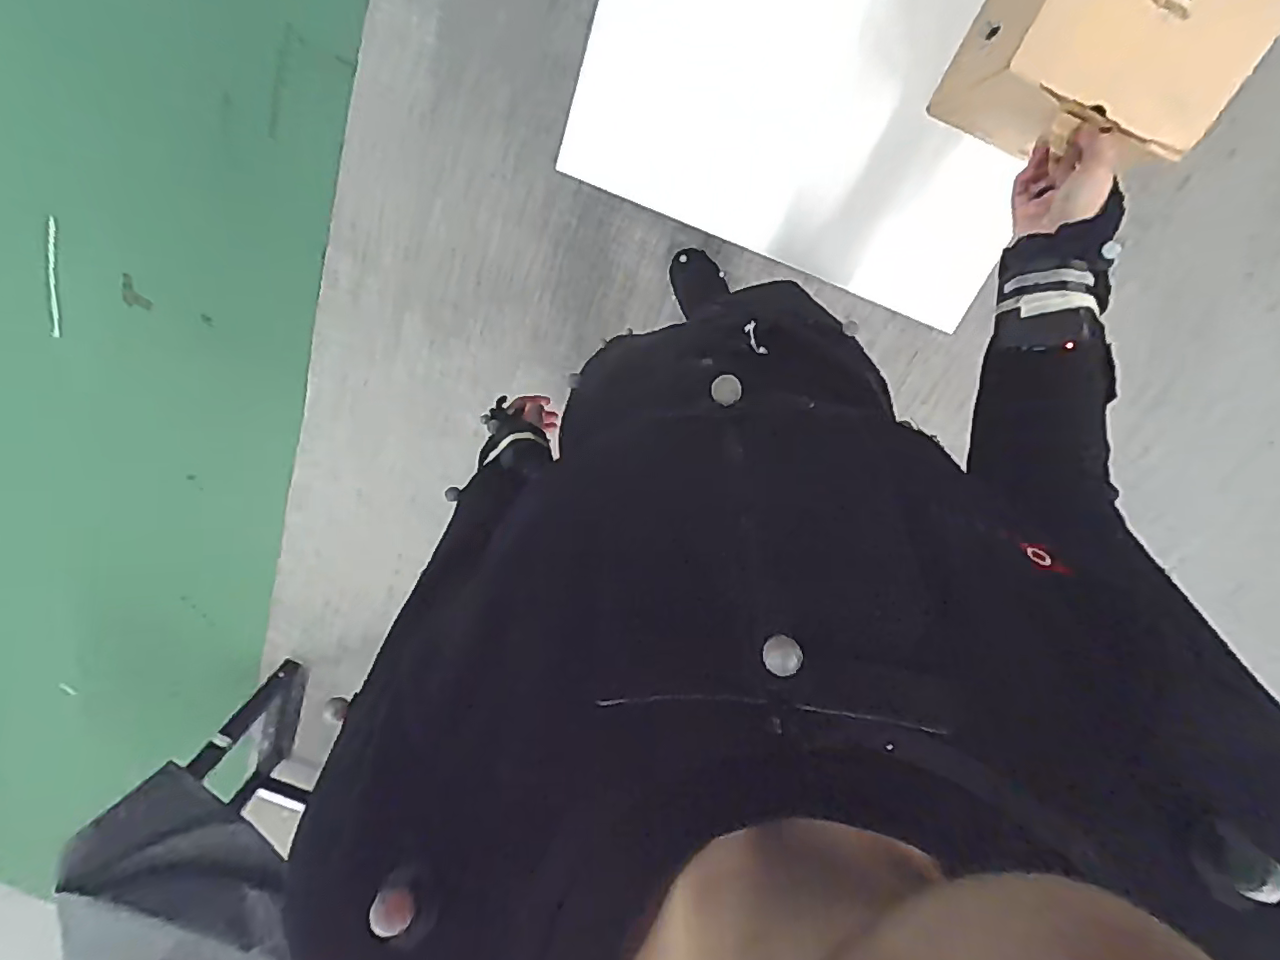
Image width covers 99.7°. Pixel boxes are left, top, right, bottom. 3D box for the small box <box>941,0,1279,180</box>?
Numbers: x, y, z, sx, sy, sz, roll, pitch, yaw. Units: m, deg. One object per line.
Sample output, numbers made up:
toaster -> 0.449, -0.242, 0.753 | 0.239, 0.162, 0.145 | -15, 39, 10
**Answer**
small box -> 0.394, -0.382, 0.462 | 0.168, 0.176, 0.179 | 23, 114, -4
